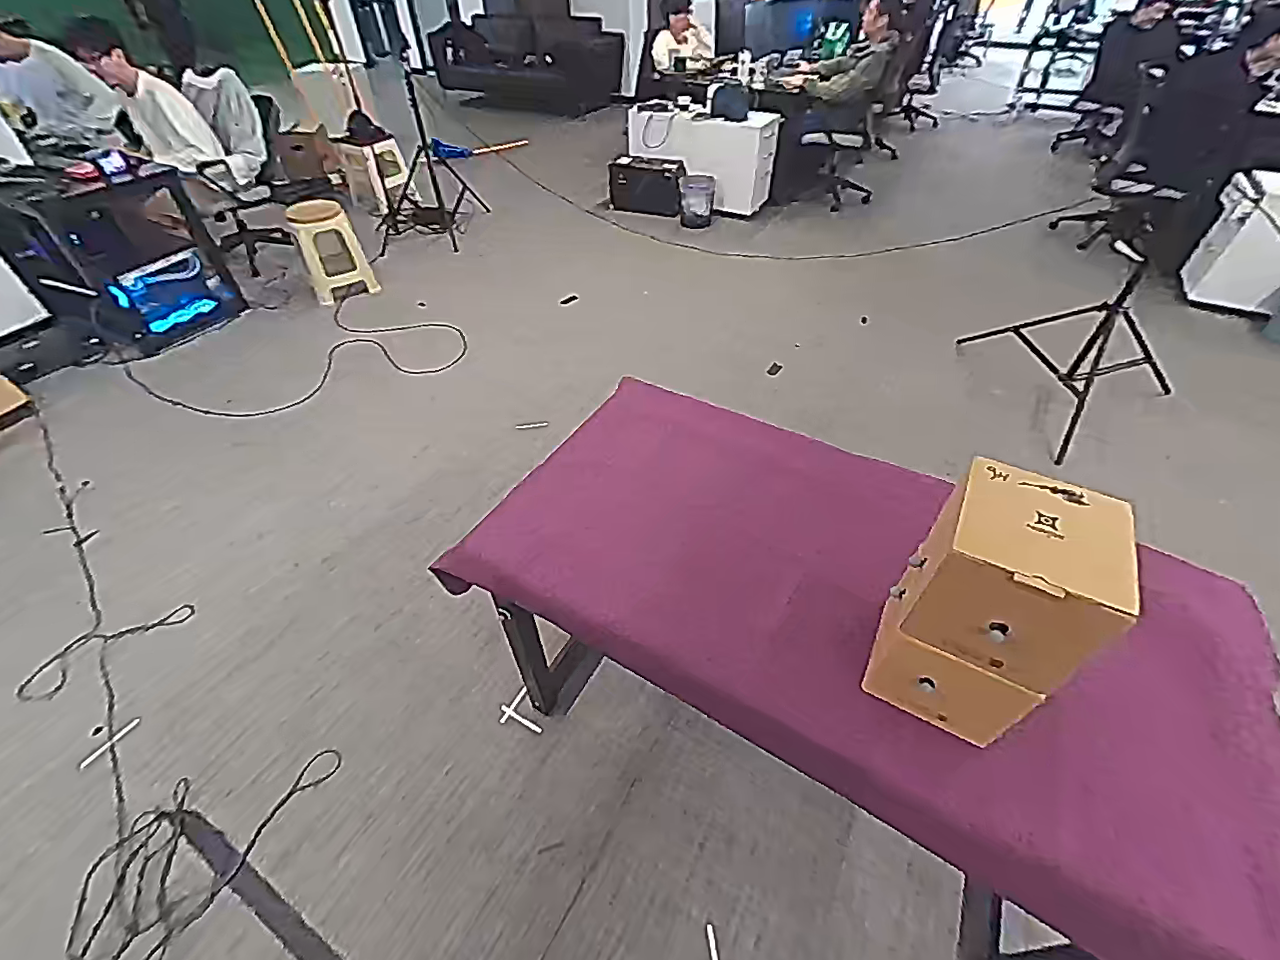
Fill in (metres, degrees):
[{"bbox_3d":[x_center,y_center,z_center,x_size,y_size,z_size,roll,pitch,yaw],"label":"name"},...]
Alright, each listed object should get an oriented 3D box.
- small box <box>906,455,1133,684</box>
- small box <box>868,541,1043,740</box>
[{"bbox_3d":[0.438,0.106,0.643,0.168,0.176,0.179,23,50,22],"label":"small box"},{"bbox_3d":[0.436,0.225,0.757,0.168,0.176,0.179,22,49,21],"label":"small box"}]
